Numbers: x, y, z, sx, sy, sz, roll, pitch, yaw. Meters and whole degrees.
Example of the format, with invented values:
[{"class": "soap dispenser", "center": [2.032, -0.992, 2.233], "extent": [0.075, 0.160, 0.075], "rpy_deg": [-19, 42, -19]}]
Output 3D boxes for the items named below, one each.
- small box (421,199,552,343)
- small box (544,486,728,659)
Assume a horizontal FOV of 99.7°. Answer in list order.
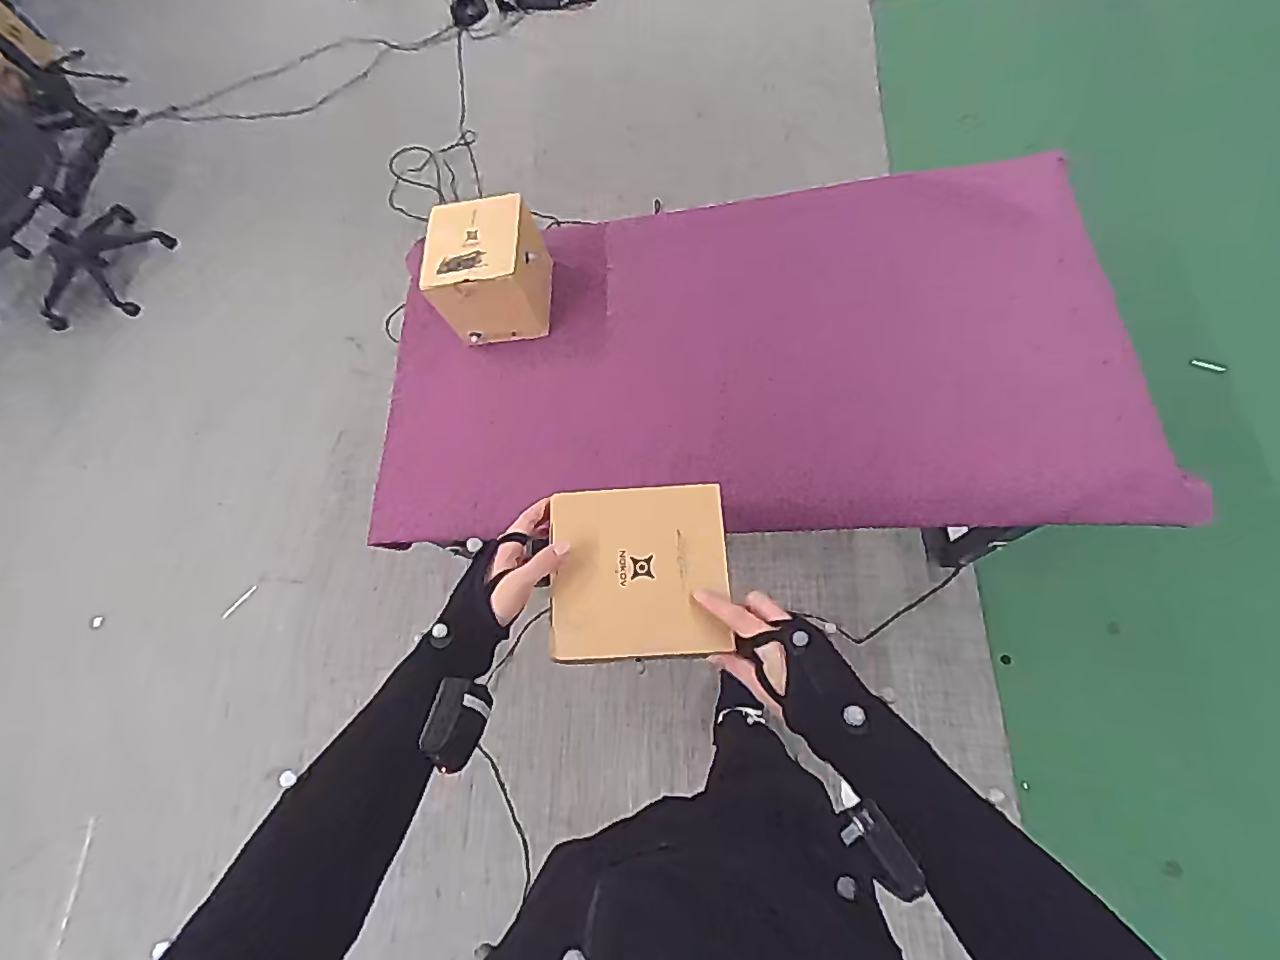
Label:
[{"class": "small box", "center": [-0.264, -0.363, 0.972], "extent": [0.168, 0.176, 0.179], "rpy_deg": [-4, 69, 9]}, {"class": "small box", "center": [0.001, 0.111, 0.604], "extent": [0.179, 0.176, 0.168], "rpy_deg": [-1, 71, 3]}]
